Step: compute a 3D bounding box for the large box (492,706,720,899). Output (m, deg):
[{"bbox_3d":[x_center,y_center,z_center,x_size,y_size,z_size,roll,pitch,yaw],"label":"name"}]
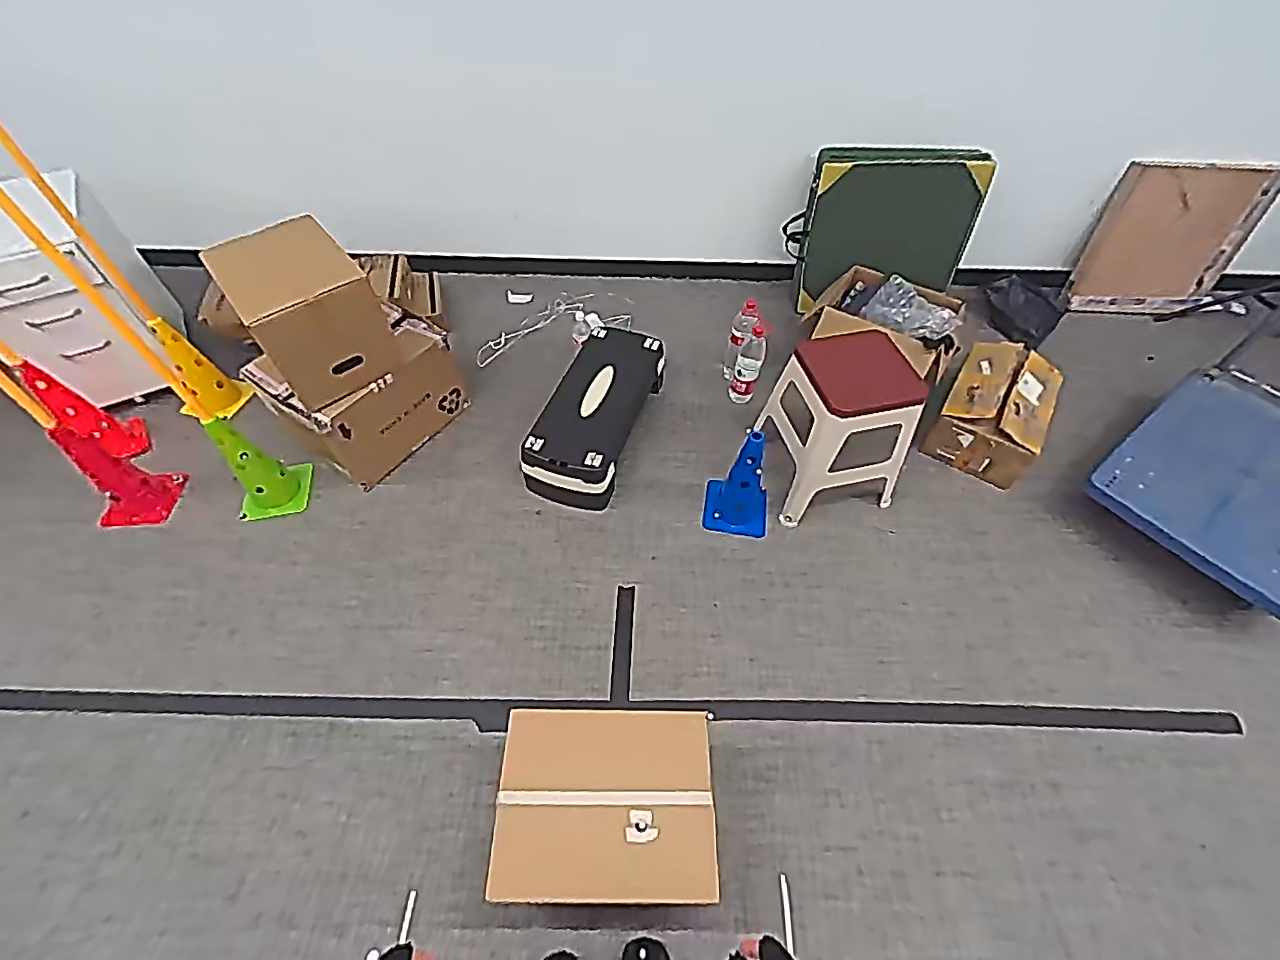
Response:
[{"bbox_3d":[-0.067,0.679,1.137,0.408,0.320,0.320,2,54,-2],"label":"large box"}]
